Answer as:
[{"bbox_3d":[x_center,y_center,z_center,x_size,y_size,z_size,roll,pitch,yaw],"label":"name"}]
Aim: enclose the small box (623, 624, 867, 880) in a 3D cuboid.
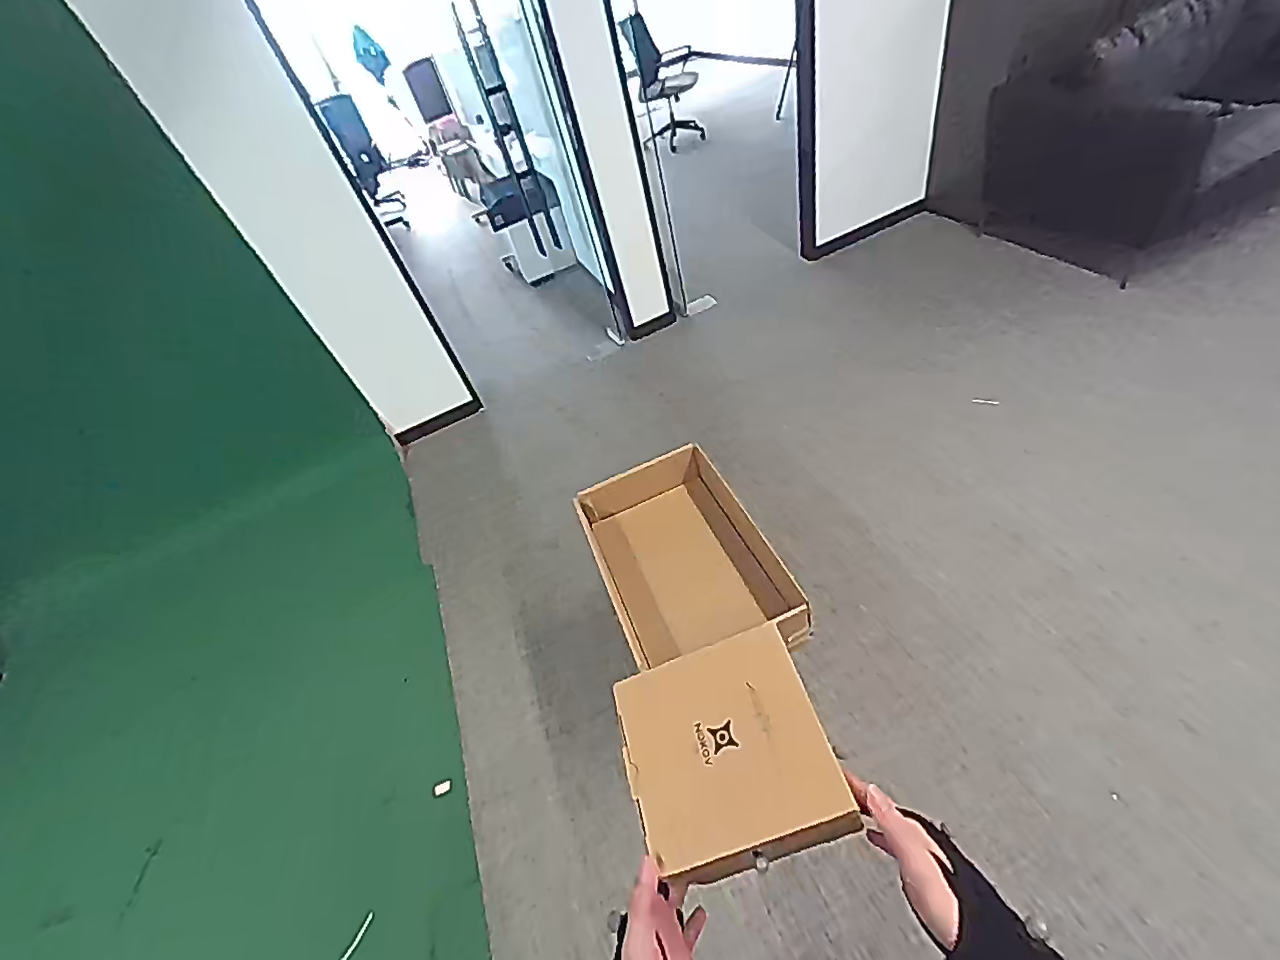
[{"bbox_3d":[0.105,0.275,0.533,0.179,0.176,0.168,-23,49,6],"label":"small box"}]
